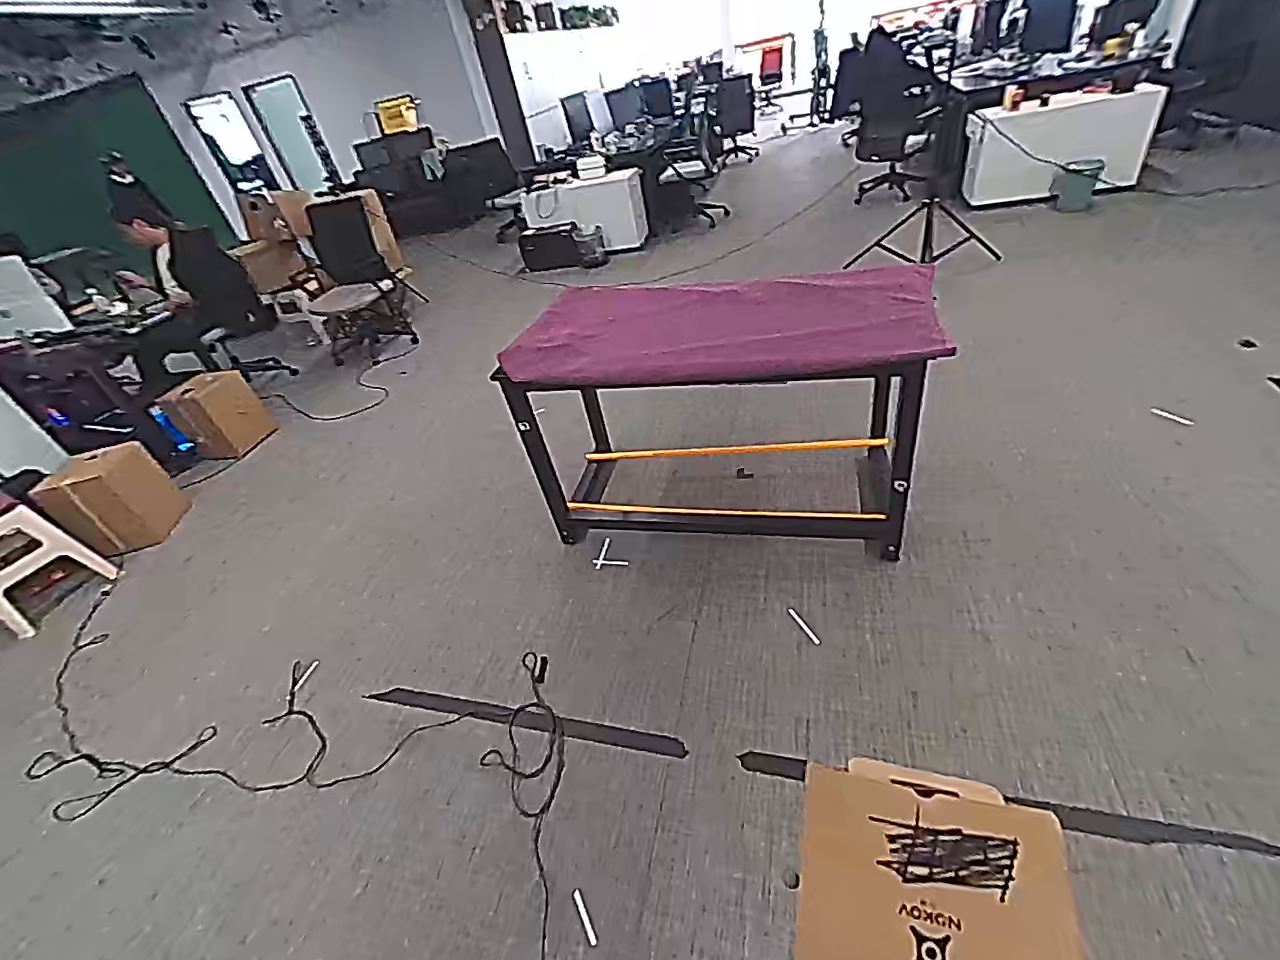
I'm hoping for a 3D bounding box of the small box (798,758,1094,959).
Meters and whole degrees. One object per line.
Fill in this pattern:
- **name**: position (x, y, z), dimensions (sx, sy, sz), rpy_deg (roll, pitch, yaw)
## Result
- **small box**: position (0.206, 0.337, 0.399), dimensions (0.168, 0.176, 0.179), rpy_deg (3, 51, 20)
